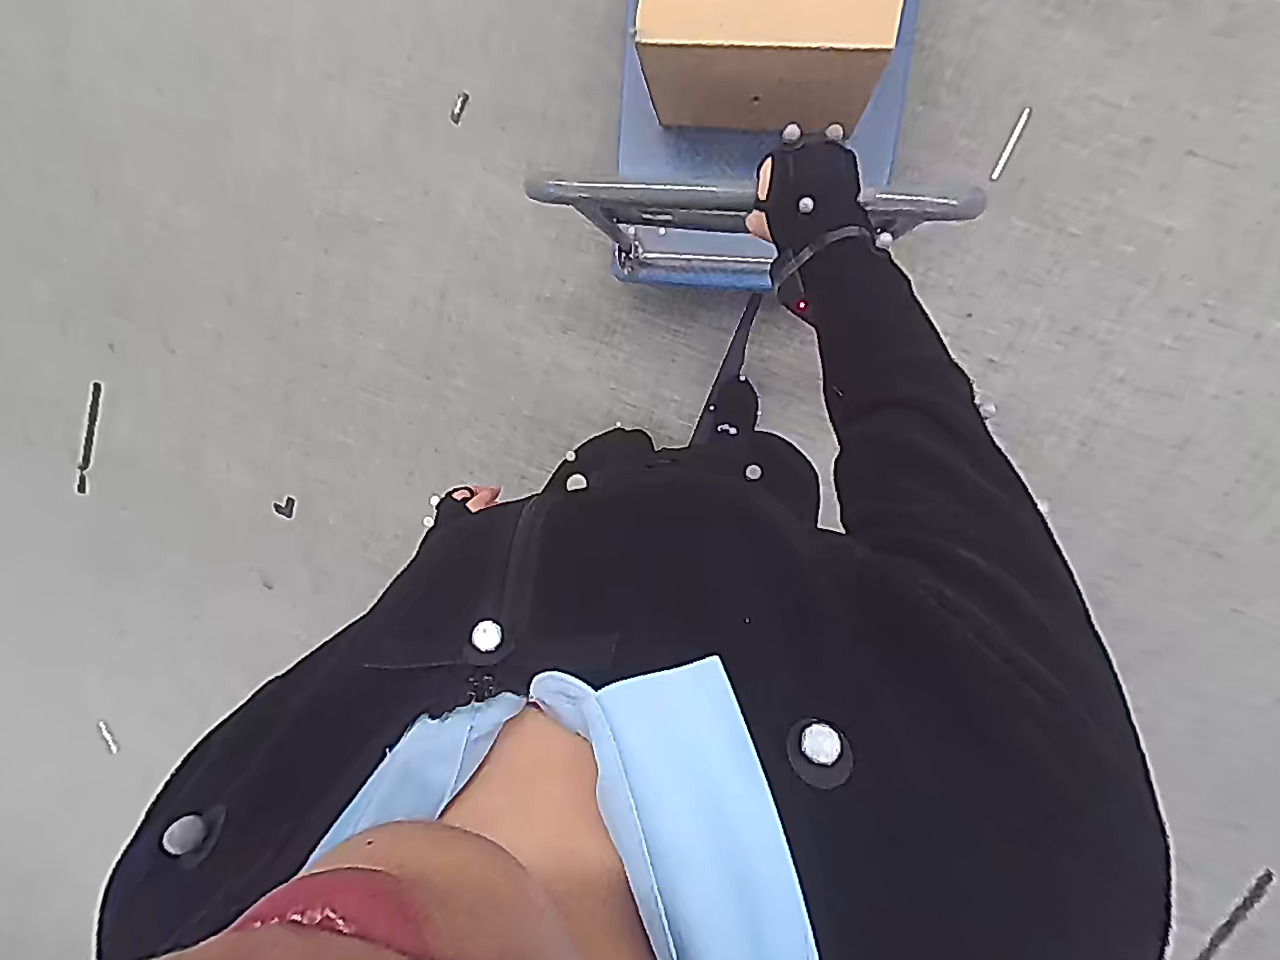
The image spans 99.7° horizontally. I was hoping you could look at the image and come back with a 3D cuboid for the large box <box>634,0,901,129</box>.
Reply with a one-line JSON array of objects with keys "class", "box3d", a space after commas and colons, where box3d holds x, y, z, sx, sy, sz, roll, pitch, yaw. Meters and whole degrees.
[{"class": "large box", "box3d": [0.226, -0.849, 0.948, 0.408, 0.320, 0.320, 8, 101, 9]}]
